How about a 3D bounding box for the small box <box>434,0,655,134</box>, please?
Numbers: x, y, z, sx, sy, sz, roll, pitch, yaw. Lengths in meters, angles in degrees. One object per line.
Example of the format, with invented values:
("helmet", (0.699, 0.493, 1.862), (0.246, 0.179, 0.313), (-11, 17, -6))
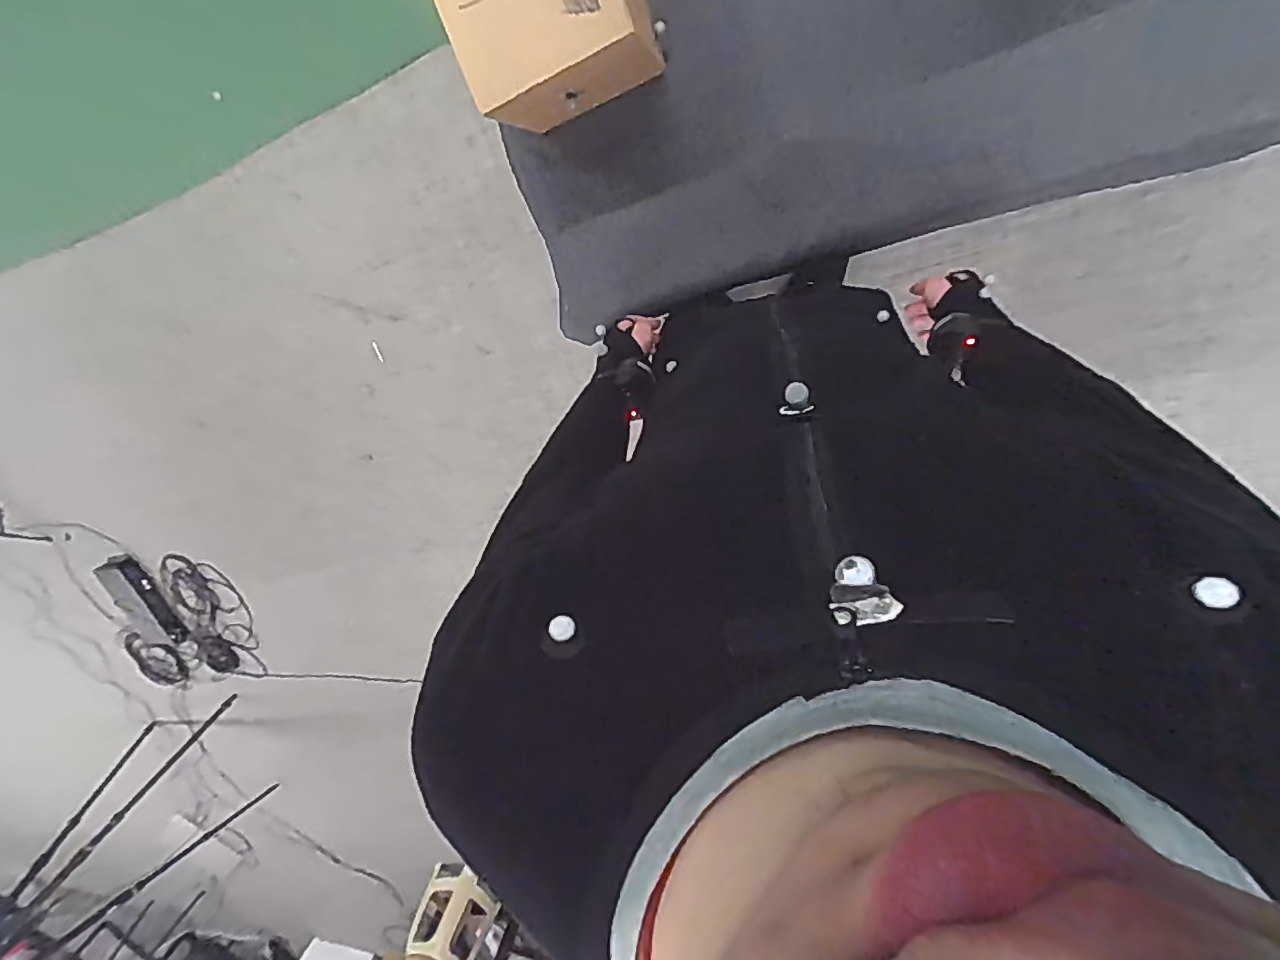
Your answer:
("small box", (-0.093, -0.492, 0.568), (0.179, 0.176, 0.168), (-13, 112, 21))
